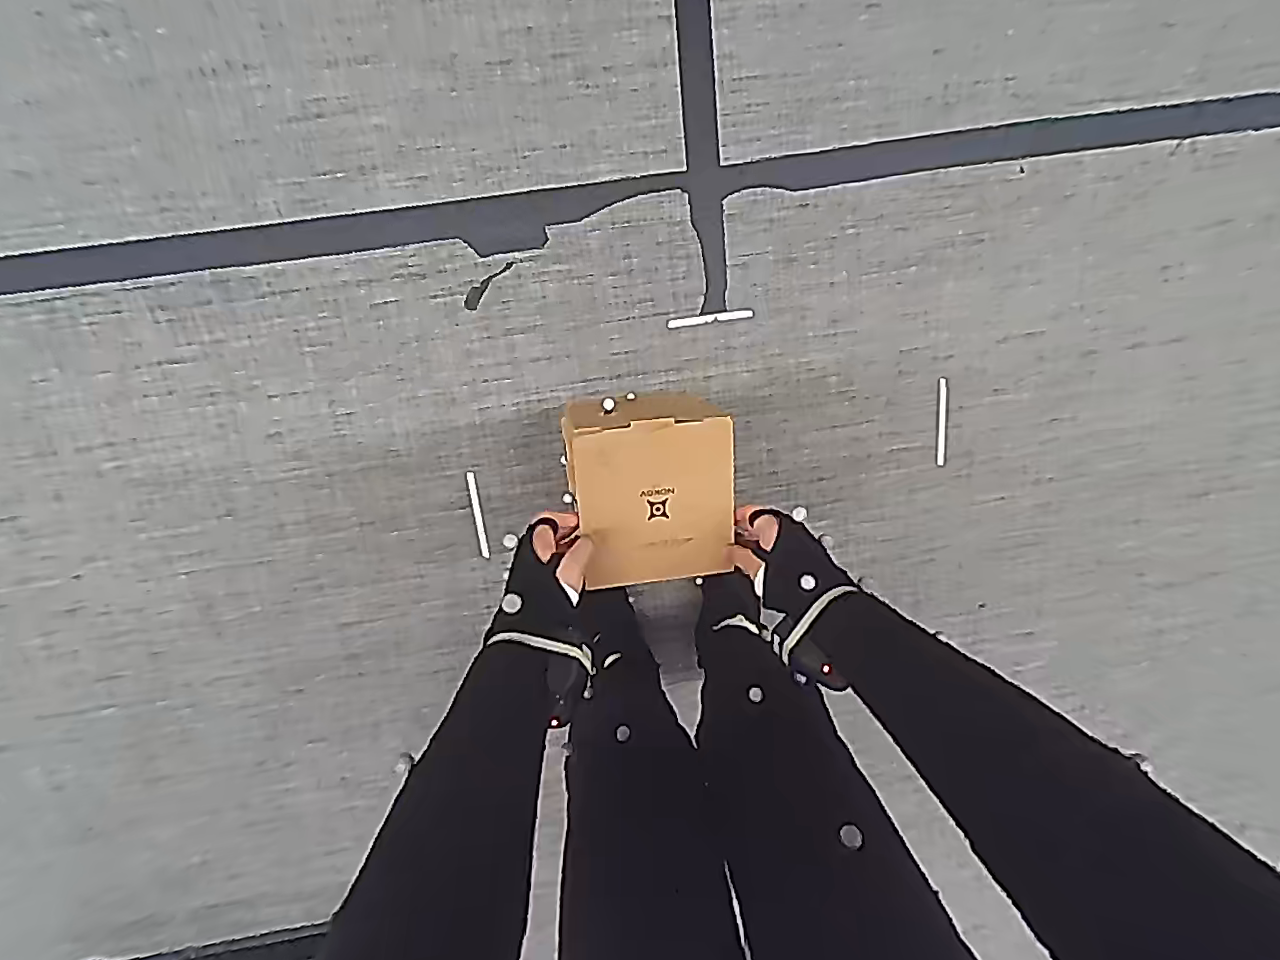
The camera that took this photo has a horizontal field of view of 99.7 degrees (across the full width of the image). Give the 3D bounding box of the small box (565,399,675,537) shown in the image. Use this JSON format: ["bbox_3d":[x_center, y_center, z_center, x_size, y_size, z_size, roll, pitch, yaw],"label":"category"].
[{"bbox_3d":[-0.015,-0.027,0.817,0.179,0.176,0.168,-7,104,-3],"label":"small box"}]

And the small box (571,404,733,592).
[{"bbox_3d":[0.008,0.009,0.646,0.168,0.176,0.179,-6,109,-6],"label":"small box"}]
